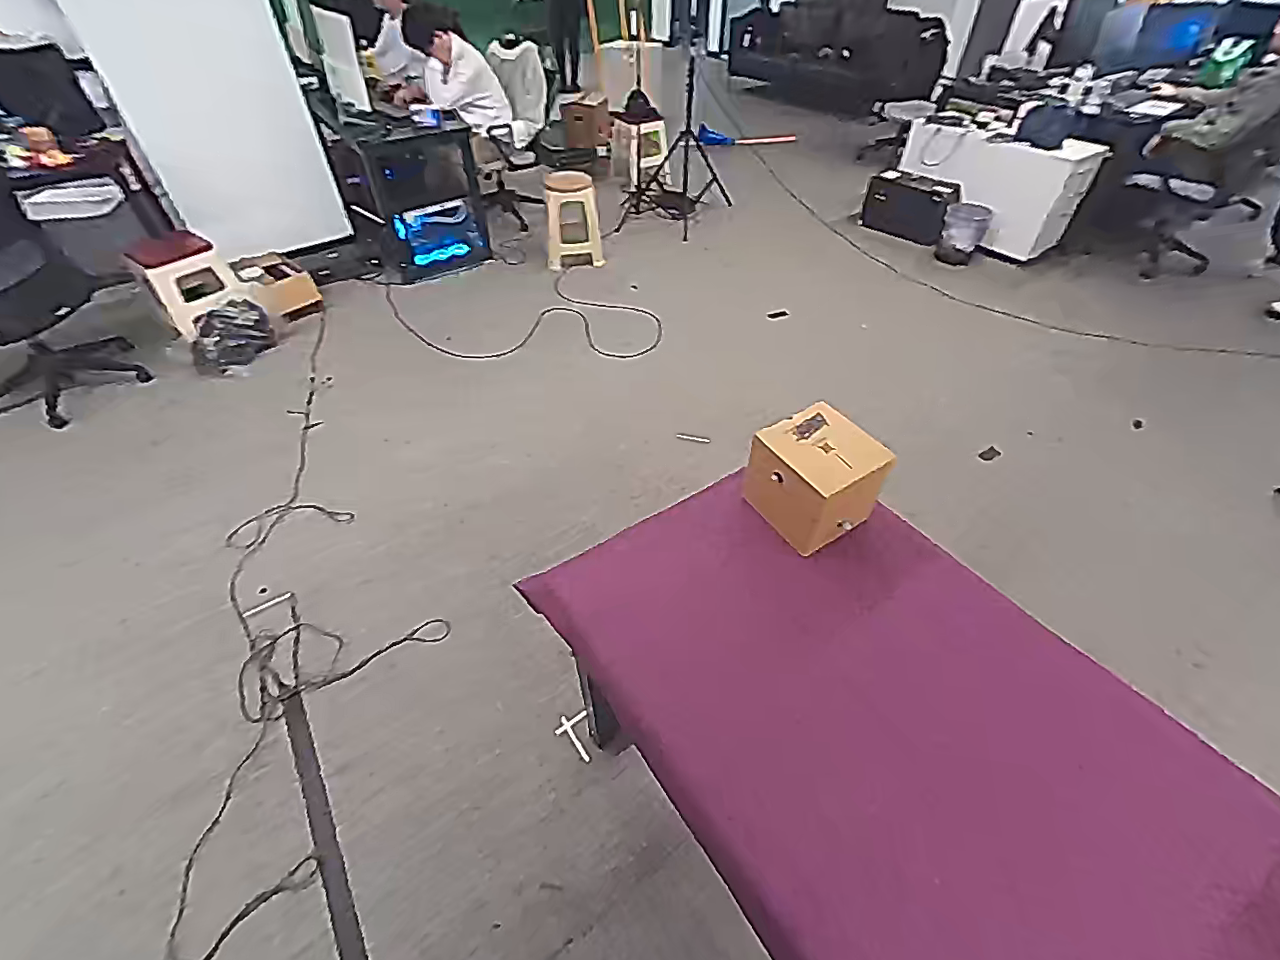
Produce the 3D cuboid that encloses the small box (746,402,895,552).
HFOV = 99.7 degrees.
[{"bbox_3d":[0.311,-0.004,0.974,0.168,0.176,0.179,-26,53,-20],"label":"small box"}]
